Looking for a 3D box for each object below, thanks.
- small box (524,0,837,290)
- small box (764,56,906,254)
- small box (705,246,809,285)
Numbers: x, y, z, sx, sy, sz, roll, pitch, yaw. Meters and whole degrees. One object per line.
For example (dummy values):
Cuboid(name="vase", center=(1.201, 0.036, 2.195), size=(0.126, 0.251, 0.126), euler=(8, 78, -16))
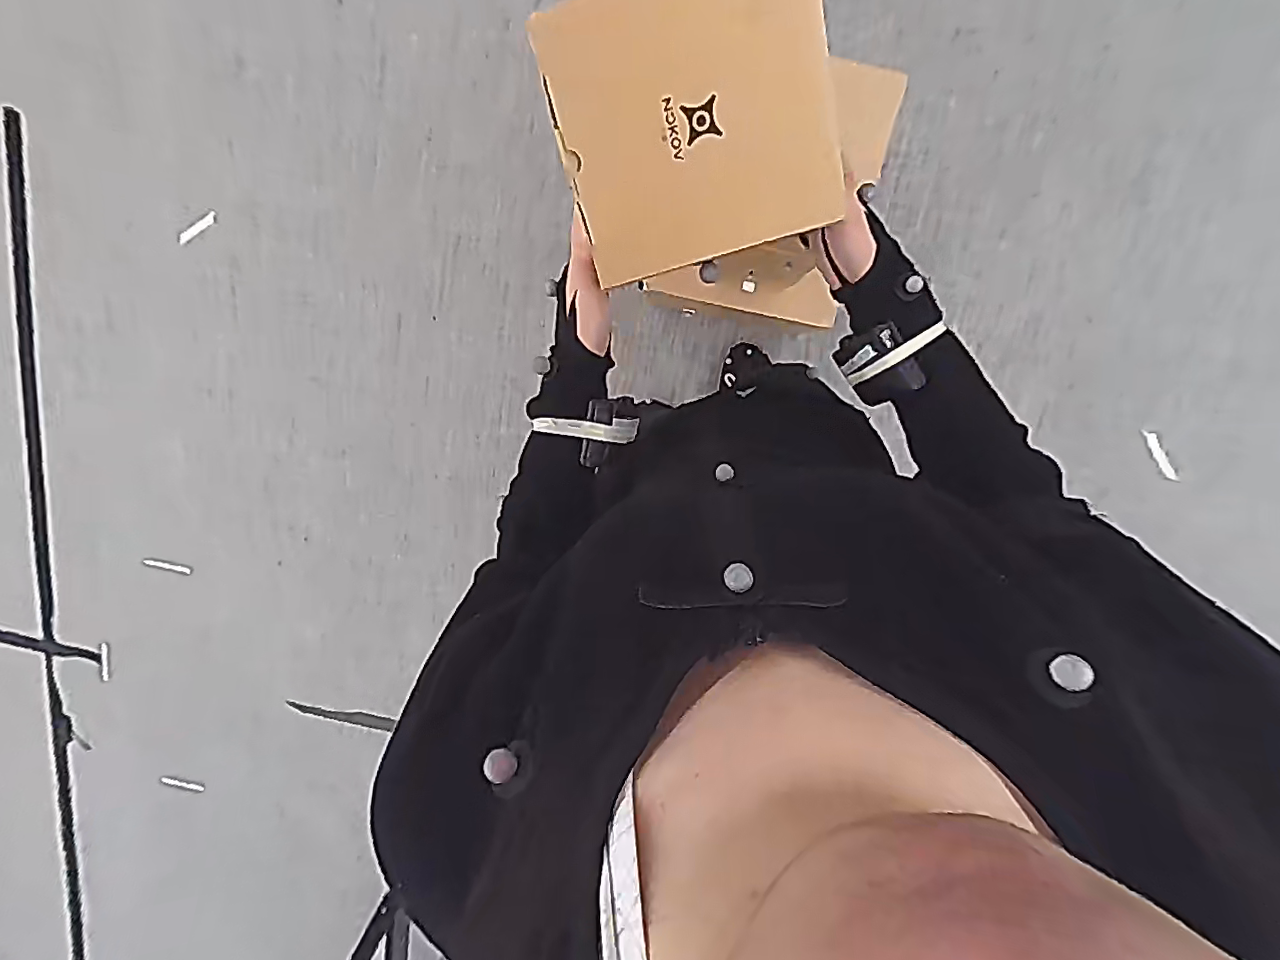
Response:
Cuboid(name="small box", center=(0.034, -0.261, 0.423), size=(0.179, 0.176, 0.168), euler=(-13, 112, 9))
Cuboid(name="small box", center=(0.192, -0.395, 0.679), size=(0.179, 0.176, 0.168), euler=(14, 103, 2))
Cuboid(name="small box", center=(0.221, -0.465, 0.999), size=(0.179, 0.176, 0.168), euler=(10, 104, 2))
